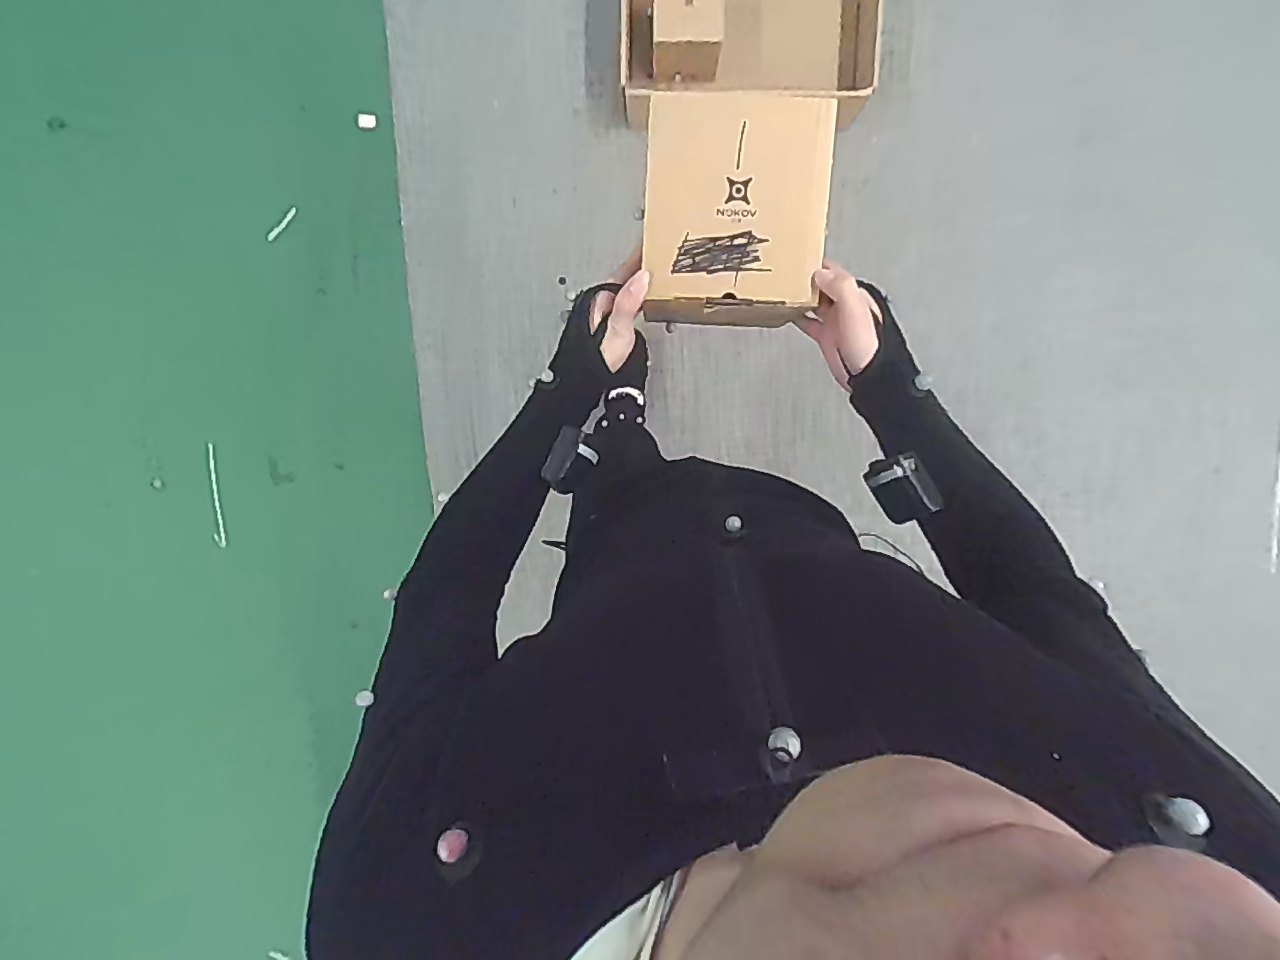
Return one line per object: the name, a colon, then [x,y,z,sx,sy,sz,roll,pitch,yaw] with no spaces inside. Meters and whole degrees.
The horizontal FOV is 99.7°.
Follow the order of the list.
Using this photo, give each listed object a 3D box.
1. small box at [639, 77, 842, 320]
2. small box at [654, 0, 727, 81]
small box: [0.089,-0.266,0.553,0.168,0.176,0.179,4,97,1]
small box: [0.119,-1.107,1.326,0.168,0.176,0.179,1,97,1]
